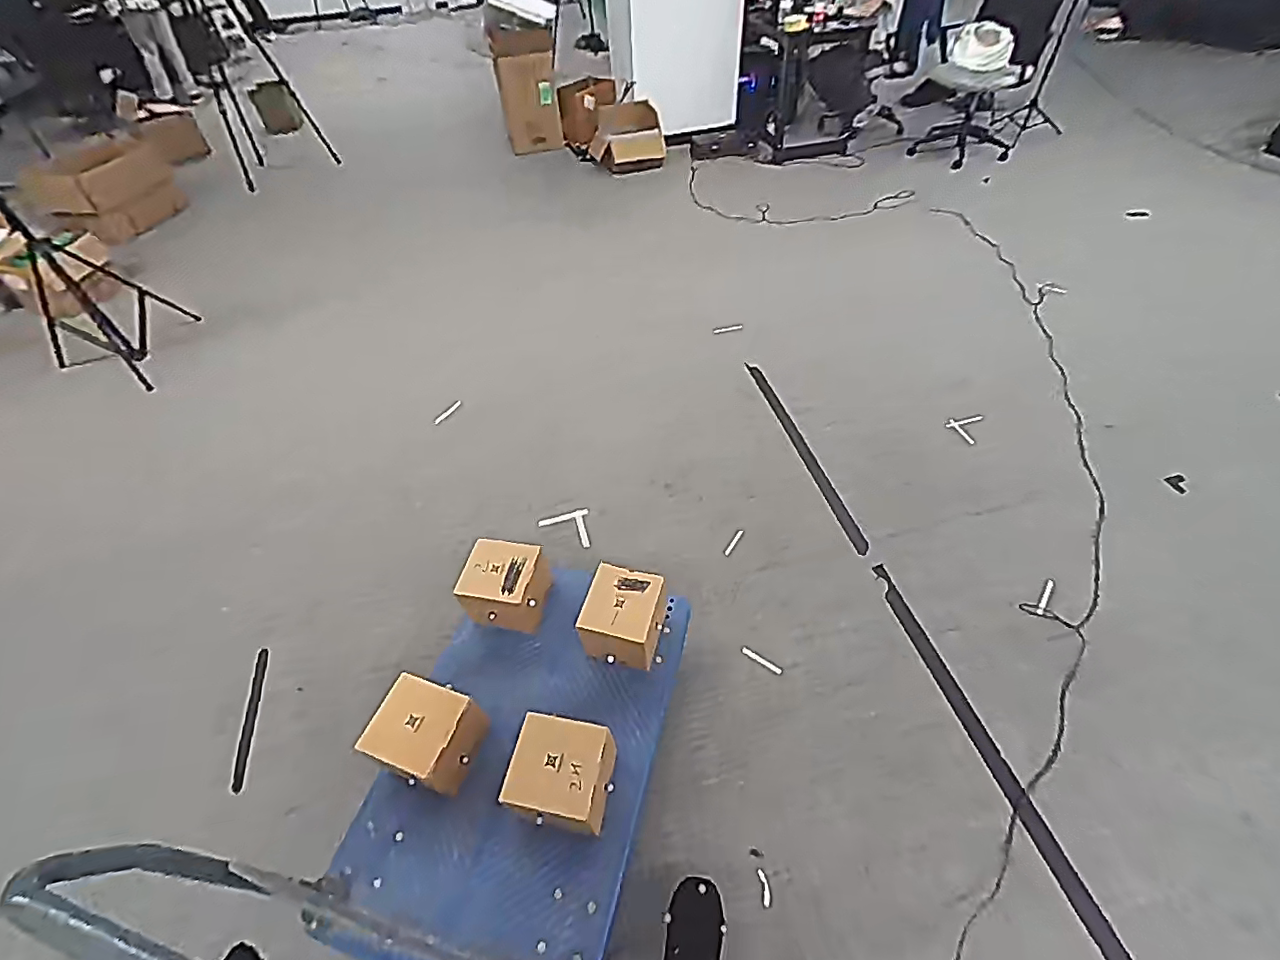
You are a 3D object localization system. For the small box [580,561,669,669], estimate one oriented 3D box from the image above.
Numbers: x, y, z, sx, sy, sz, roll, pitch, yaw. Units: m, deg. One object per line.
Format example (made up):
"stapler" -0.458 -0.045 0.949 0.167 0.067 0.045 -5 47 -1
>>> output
"small box" -0.031 0.330 1.317 0.168 0.176 0.179 11 51 14

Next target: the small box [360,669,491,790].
"small box" -0.450 0.540 1.163 0.179 0.176 0.168 14 50 14

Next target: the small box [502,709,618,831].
"small box" -0.152 0.590 1.096 0.179 0.176 0.168 7 50 11
